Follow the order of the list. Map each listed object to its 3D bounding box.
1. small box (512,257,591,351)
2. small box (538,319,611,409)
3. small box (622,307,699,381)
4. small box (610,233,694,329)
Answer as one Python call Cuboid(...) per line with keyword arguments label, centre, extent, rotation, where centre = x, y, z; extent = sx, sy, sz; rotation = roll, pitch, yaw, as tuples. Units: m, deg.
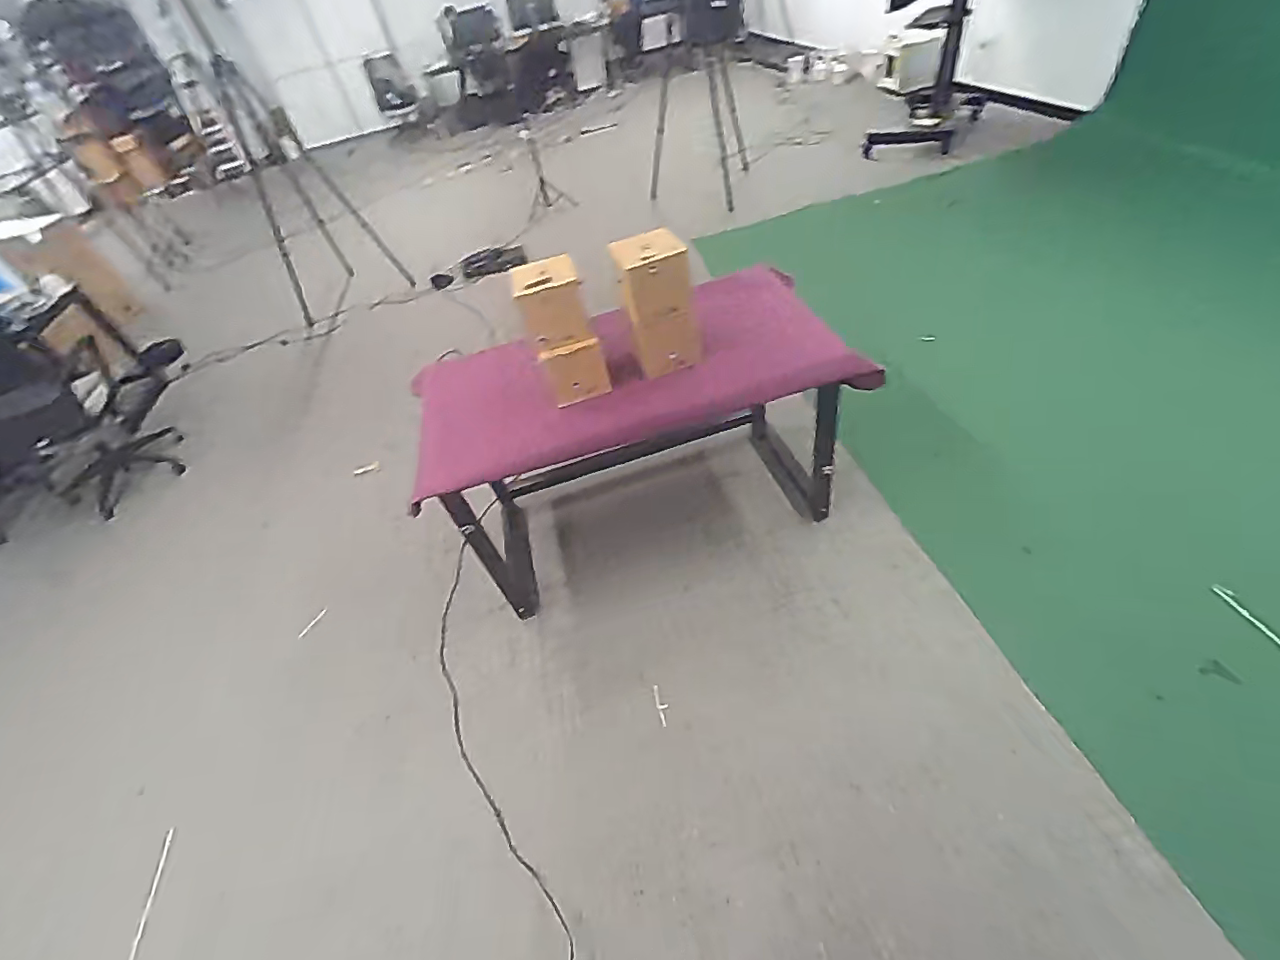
Cuboid(label="small box", centre=(-0.234, -0.463, 1.444), extent=(0.168, 0.176, 0.179), rotation=(-15, 45, -1))
Cuboid(label="small box", centre=(-0.192, -0.332, 1.538), extent=(0.168, 0.176, 0.179), rotation=(-18, 46, -4))
Cuboid(label="small box", centre=(0.060, -0.413, 1.551), extent=(0.168, 0.176, 0.179), rotation=(-20, 45, -5))
Cuboid(label="small box", centre=(0.032, -0.527, 1.436), extent=(0.168, 0.176, 0.179), rotation=(-20, 44, -5))
